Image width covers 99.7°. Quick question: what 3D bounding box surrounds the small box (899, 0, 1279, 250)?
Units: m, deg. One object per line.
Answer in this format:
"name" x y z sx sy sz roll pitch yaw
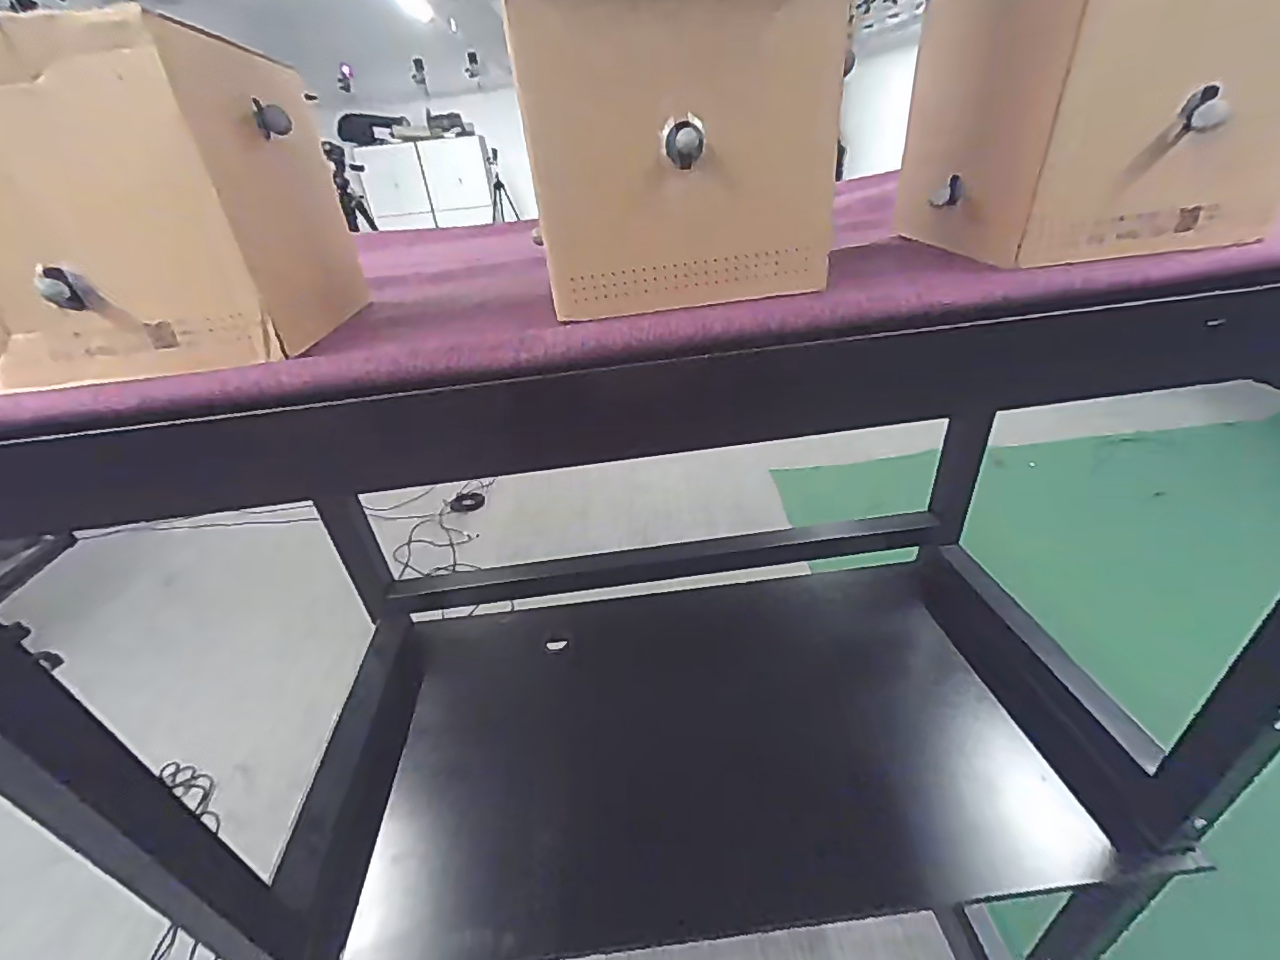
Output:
"small box" 0.307 -0.264 0.373 0.168 0.176 0.179 -6 33 0

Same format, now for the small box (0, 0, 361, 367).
"small box" -0.304 -0.182 0.346 0.168 0.176 0.179 -8 31 -5
